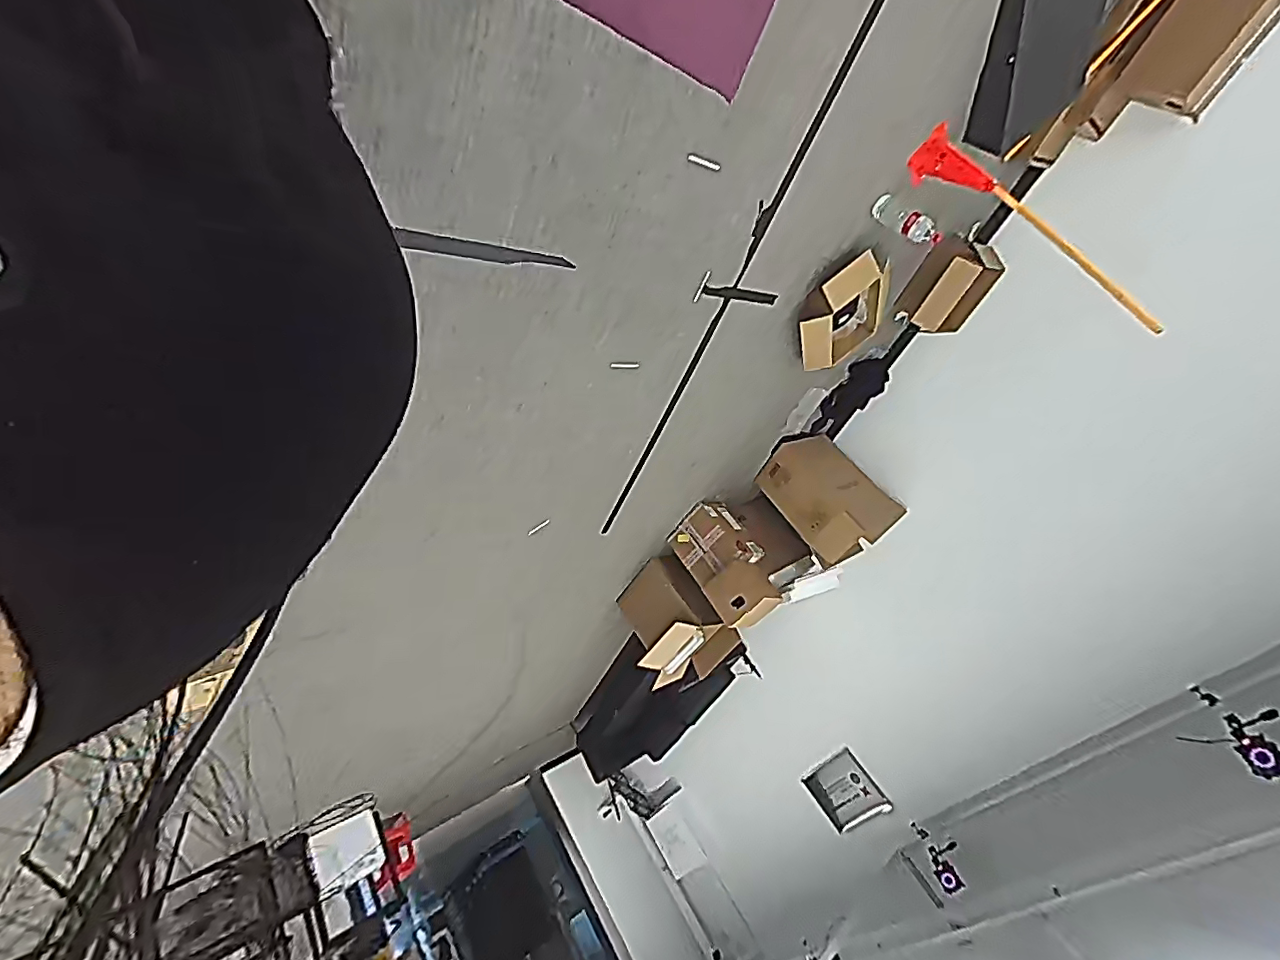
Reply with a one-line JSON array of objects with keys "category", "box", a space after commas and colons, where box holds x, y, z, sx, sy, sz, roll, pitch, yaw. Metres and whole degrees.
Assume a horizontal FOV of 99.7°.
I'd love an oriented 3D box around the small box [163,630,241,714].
[{"category": "small box", "box": [-1.428, 0.621, 1.766, 0.168, 0.176, 0.179, -15, 144, -37]}]
